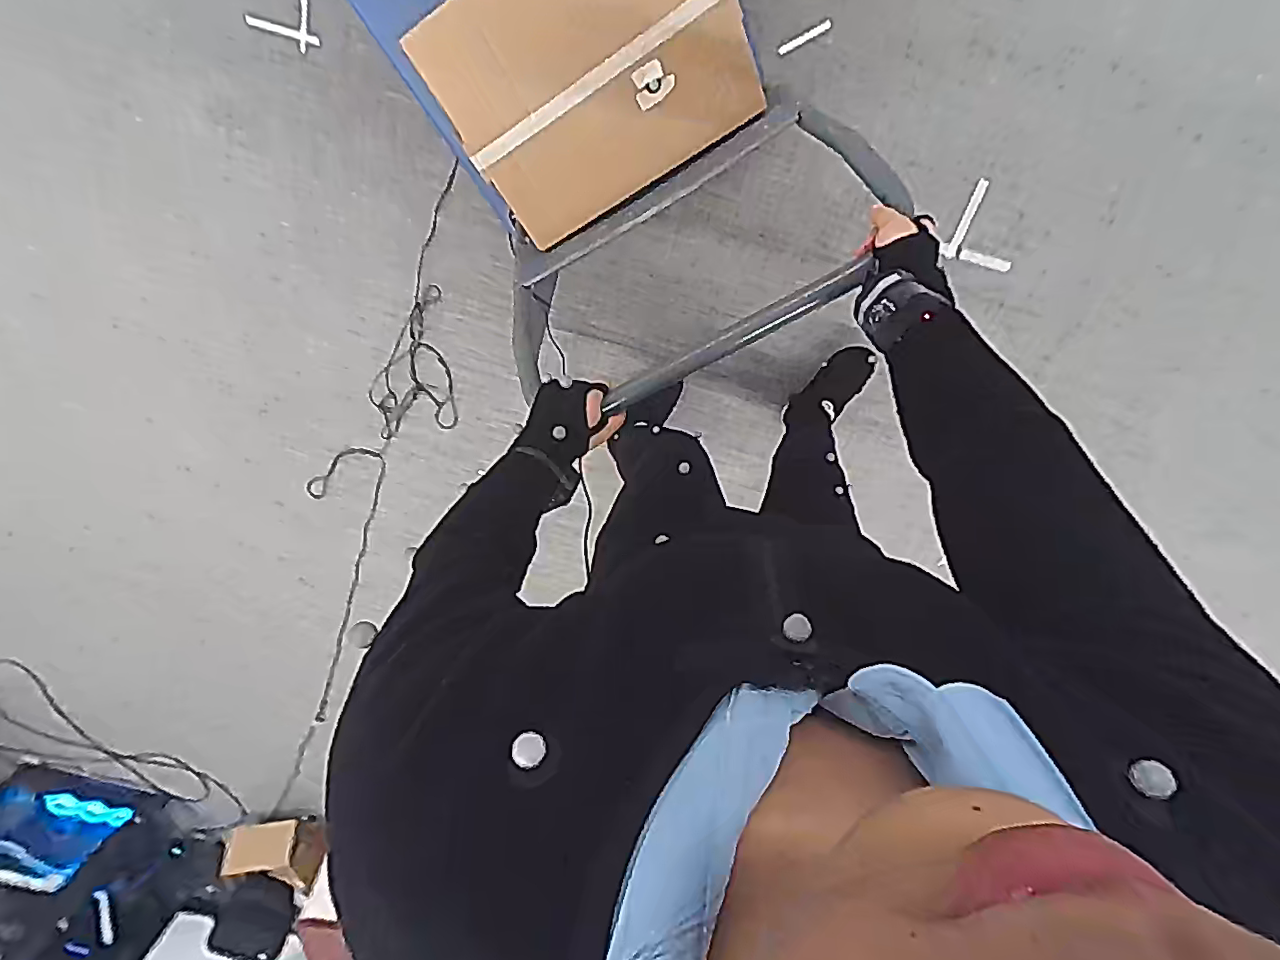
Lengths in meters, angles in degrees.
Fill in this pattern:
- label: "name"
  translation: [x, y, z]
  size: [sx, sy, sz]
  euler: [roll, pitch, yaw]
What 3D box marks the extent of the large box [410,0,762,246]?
- label: "large box"
  translation: [-0.082, -0.662, 0.860]
  size: [0.408, 0.320, 0.320]
  euler: [-27, 131, 14]
